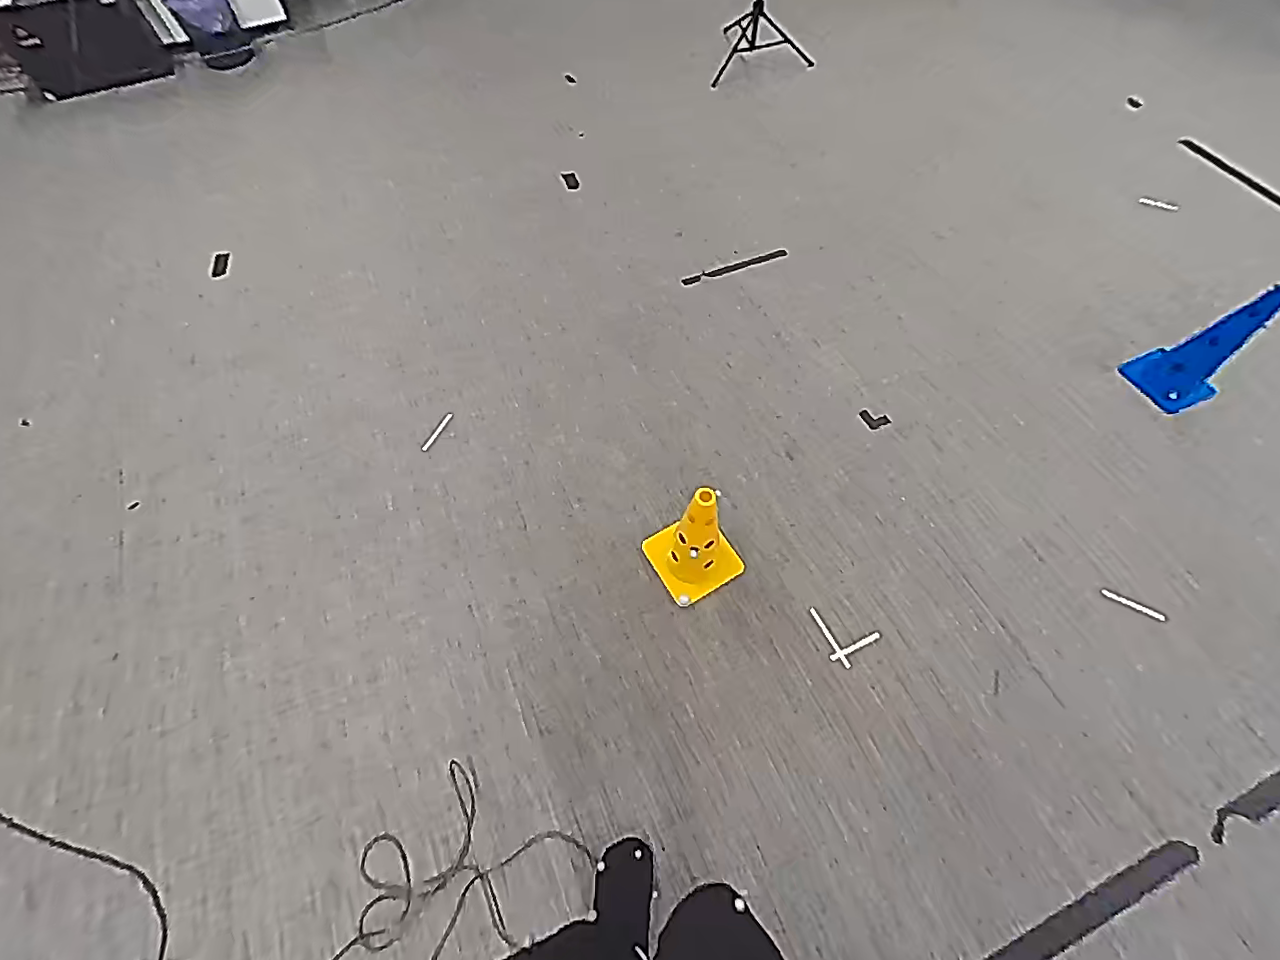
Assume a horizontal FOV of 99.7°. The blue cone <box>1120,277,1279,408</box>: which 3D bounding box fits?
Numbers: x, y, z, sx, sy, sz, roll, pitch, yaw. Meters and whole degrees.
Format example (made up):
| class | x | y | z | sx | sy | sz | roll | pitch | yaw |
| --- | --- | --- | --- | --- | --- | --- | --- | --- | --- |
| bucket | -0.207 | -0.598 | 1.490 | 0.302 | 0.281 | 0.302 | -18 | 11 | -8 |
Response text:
| class | x | y | z | sx | sy | sz | roll | pitch | yaw |
| --- | --- | --- | --- | --- | --- | --- | --- | --- | --- |
| blue cone | 1.567 | -0.385 | 1.475 | 0.193 | 0.380 | 0.192 | -21 | 62 | -10 |
